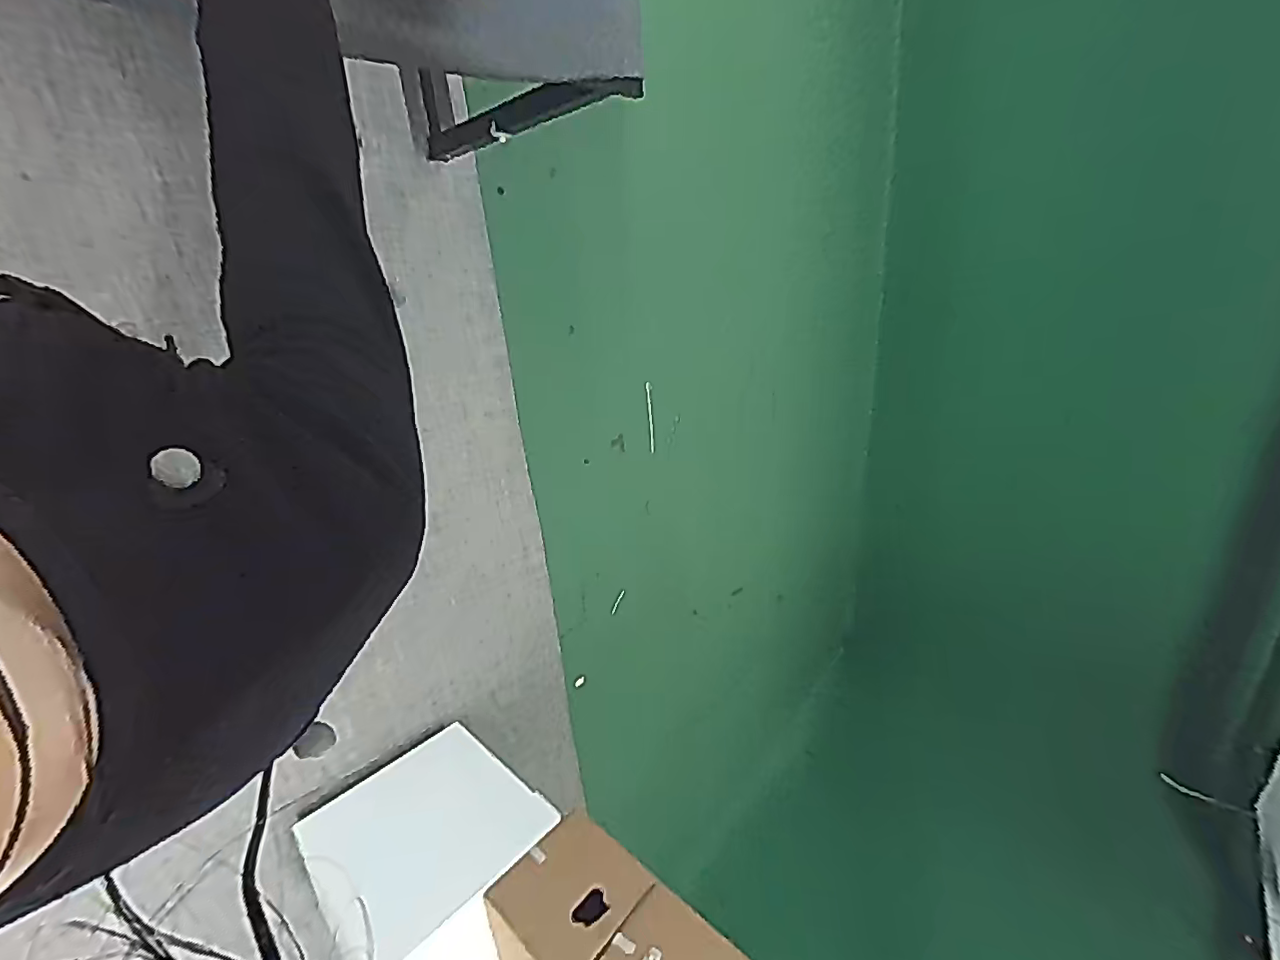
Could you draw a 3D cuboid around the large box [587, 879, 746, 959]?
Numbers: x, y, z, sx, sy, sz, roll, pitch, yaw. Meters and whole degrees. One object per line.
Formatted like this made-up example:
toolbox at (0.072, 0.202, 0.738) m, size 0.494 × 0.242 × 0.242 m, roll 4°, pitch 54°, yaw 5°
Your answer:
large box at (0.059, 1.208, 1.180) m, size 0.320 × 0.320 × 0.408 m, roll -28°, pitch 123°, yaw -41°
